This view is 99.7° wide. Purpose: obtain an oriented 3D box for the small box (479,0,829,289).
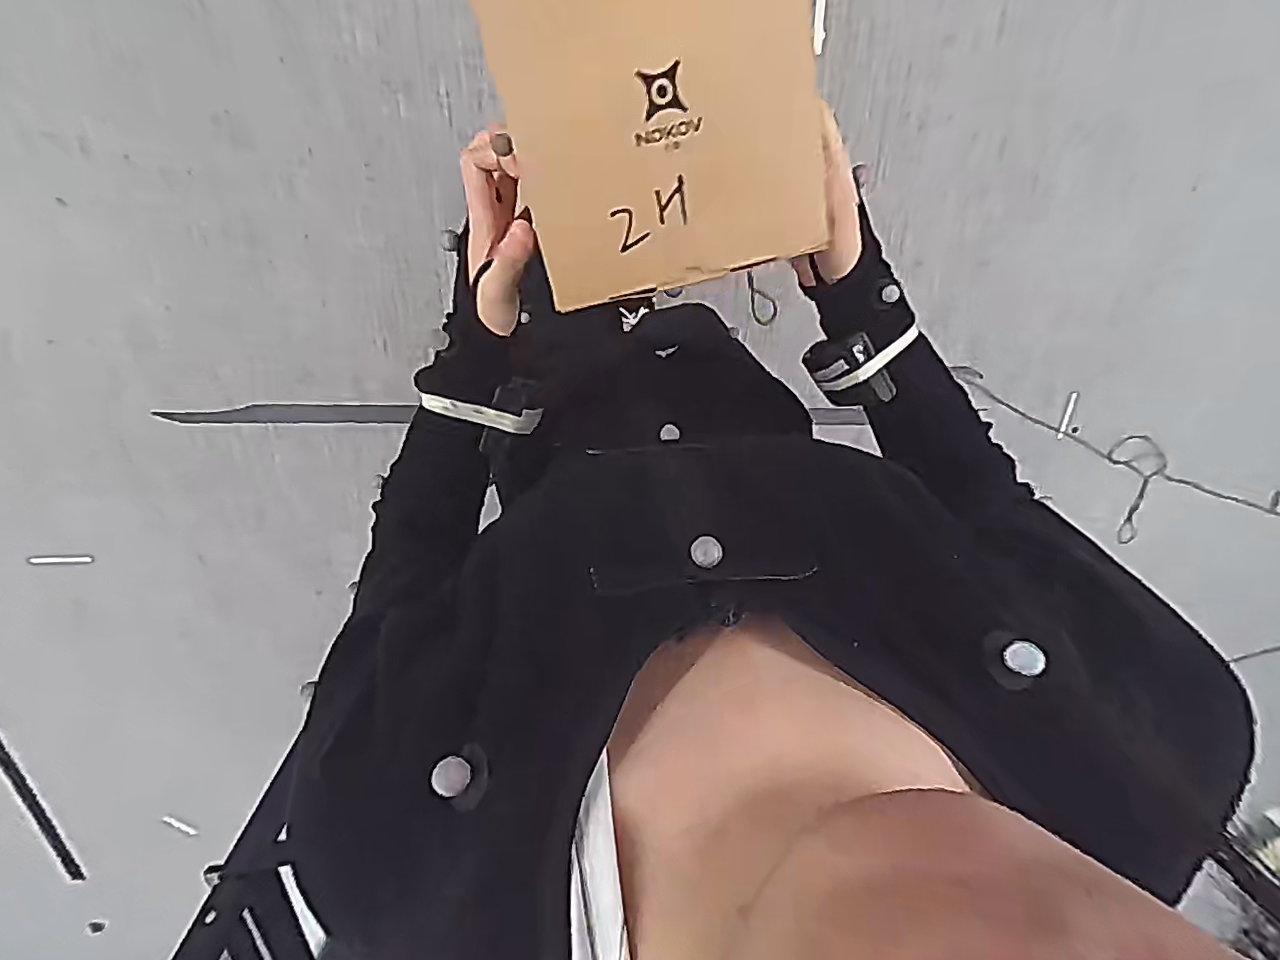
[{"bbox_3d":[0.005,-0.234,0.352,0.168,0.176,0.179,-13,113,2],"label":"small box"}]
